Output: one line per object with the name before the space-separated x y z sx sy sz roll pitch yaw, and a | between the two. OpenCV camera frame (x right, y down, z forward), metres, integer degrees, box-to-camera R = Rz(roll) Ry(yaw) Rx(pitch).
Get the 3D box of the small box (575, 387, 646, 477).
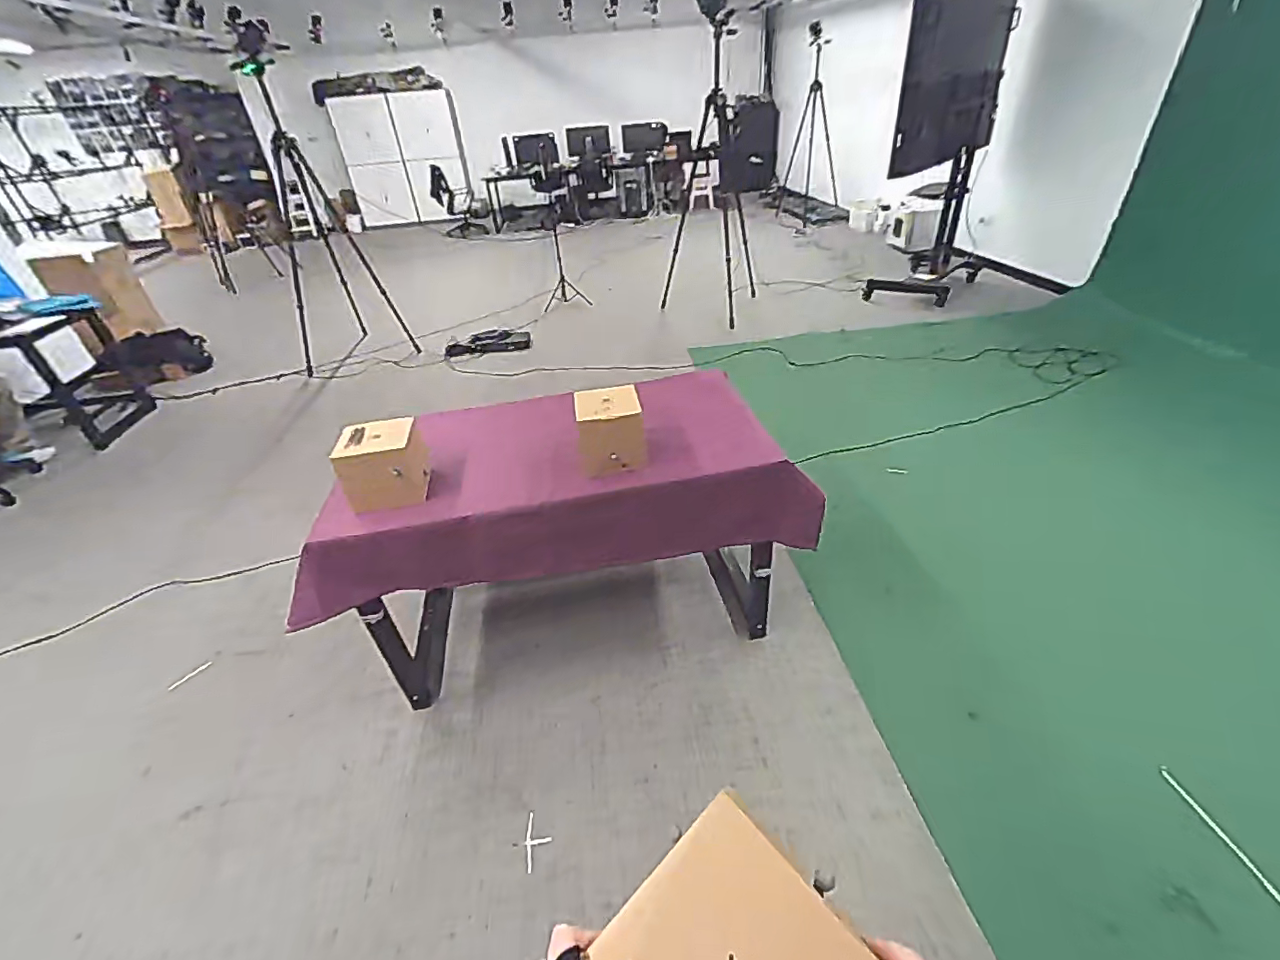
small box | -0.080 -0.129 1.444 0.168 0.176 0.179 -9 36 -3
